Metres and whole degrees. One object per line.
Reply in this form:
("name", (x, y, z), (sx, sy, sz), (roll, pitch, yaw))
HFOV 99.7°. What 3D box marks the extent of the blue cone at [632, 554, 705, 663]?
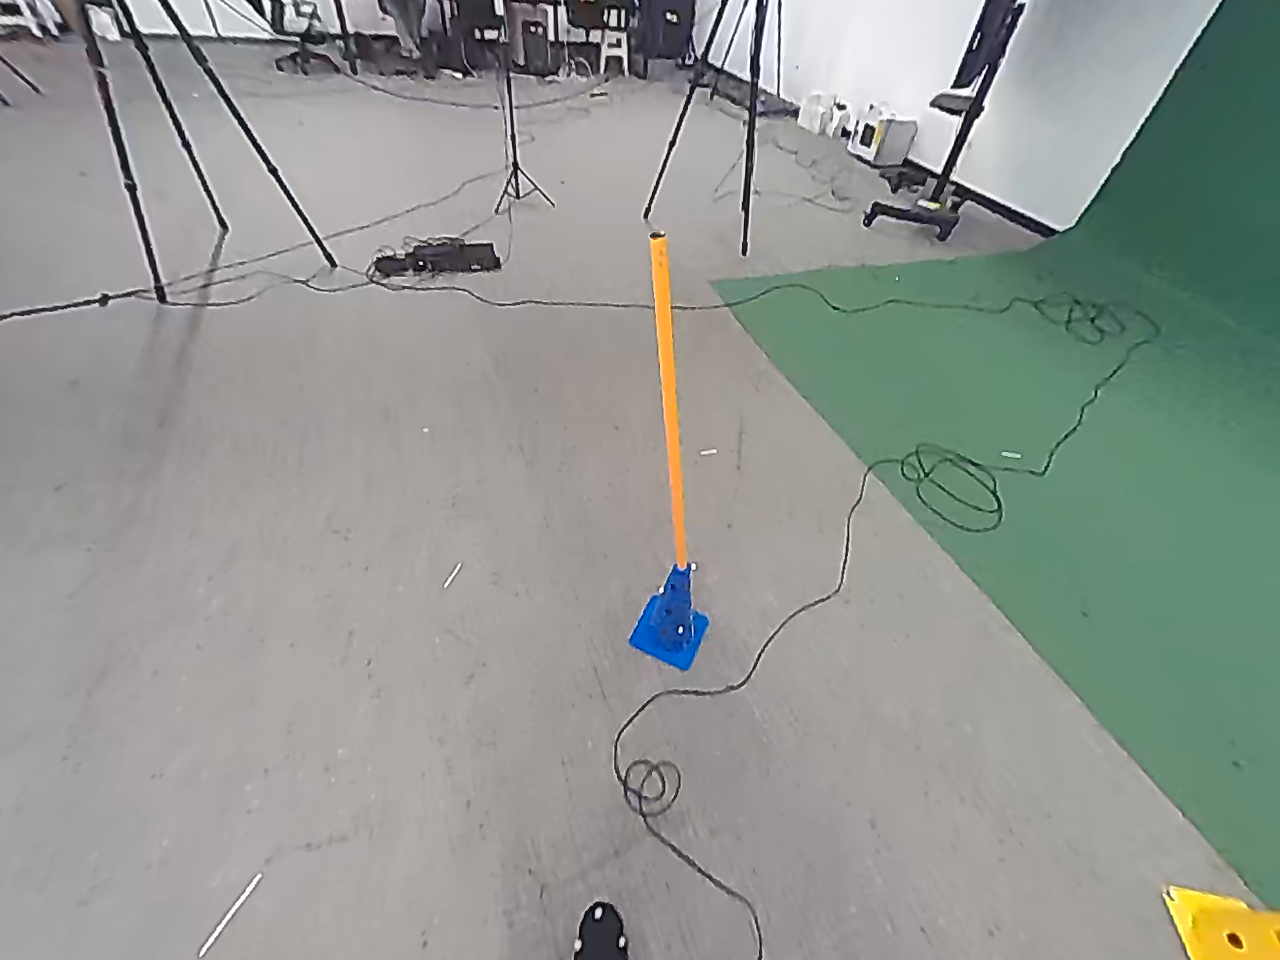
("blue cone", (0.095, 0.338, 1.513), (0.193, 0.380, 0.192), (19, 48, 14))
